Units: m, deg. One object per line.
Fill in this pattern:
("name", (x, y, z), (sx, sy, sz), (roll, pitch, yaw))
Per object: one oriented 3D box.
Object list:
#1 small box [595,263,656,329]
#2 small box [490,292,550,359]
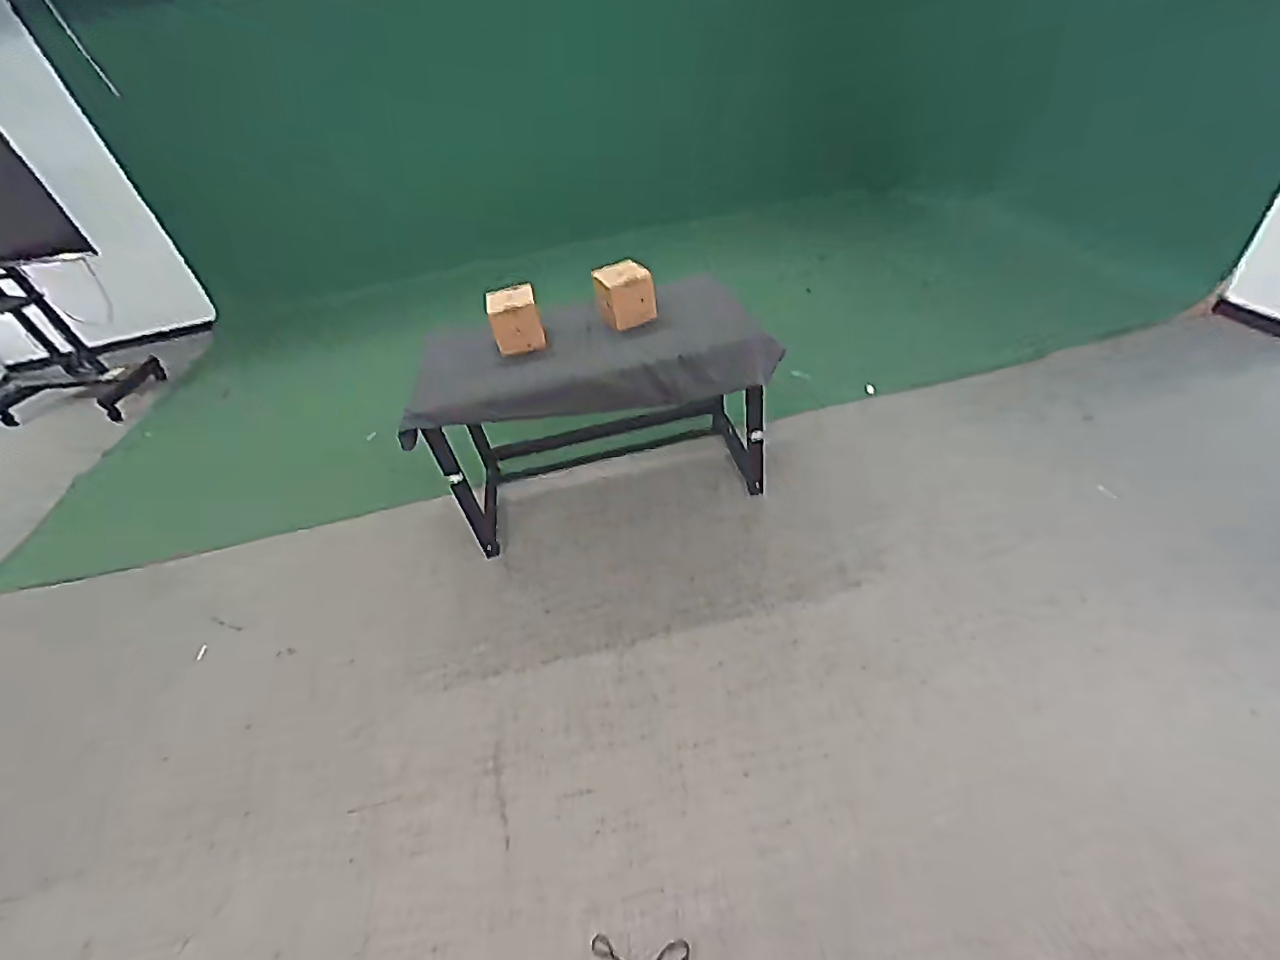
("small box", (-0.049, -0.672, 1.984), (0.168, 0.176, 0.179), (-20, 41, -14))
("small box", (-0.437, -0.559, 1.972), (0.168, 0.176, 0.179), (-17, 40, -5))
